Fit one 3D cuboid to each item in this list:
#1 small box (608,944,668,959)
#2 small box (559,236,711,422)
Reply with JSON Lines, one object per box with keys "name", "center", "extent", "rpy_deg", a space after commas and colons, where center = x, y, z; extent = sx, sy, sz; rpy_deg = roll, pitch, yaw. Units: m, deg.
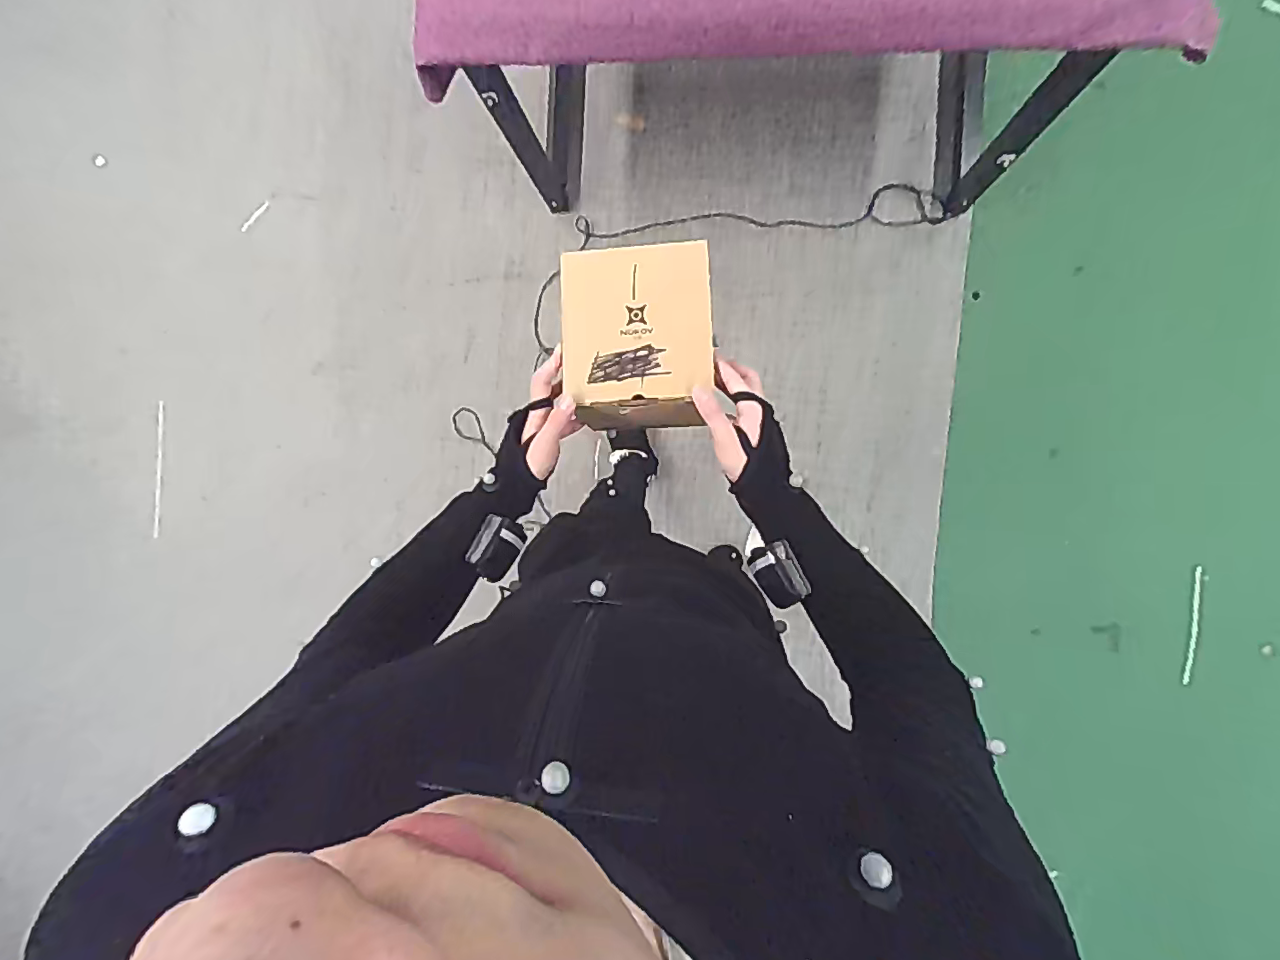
{"name": "small box", "center": [-0.014, 1.337, 1.363], "extent": [0.168, 0.176, 0.179], "rpy_deg": [4, 92, 6]}
{"name": "small box", "center": [0.003, -0.169, 0.662], "extent": [0.168, 0.176, 0.179], "rpy_deg": [-3, 86, 6]}
